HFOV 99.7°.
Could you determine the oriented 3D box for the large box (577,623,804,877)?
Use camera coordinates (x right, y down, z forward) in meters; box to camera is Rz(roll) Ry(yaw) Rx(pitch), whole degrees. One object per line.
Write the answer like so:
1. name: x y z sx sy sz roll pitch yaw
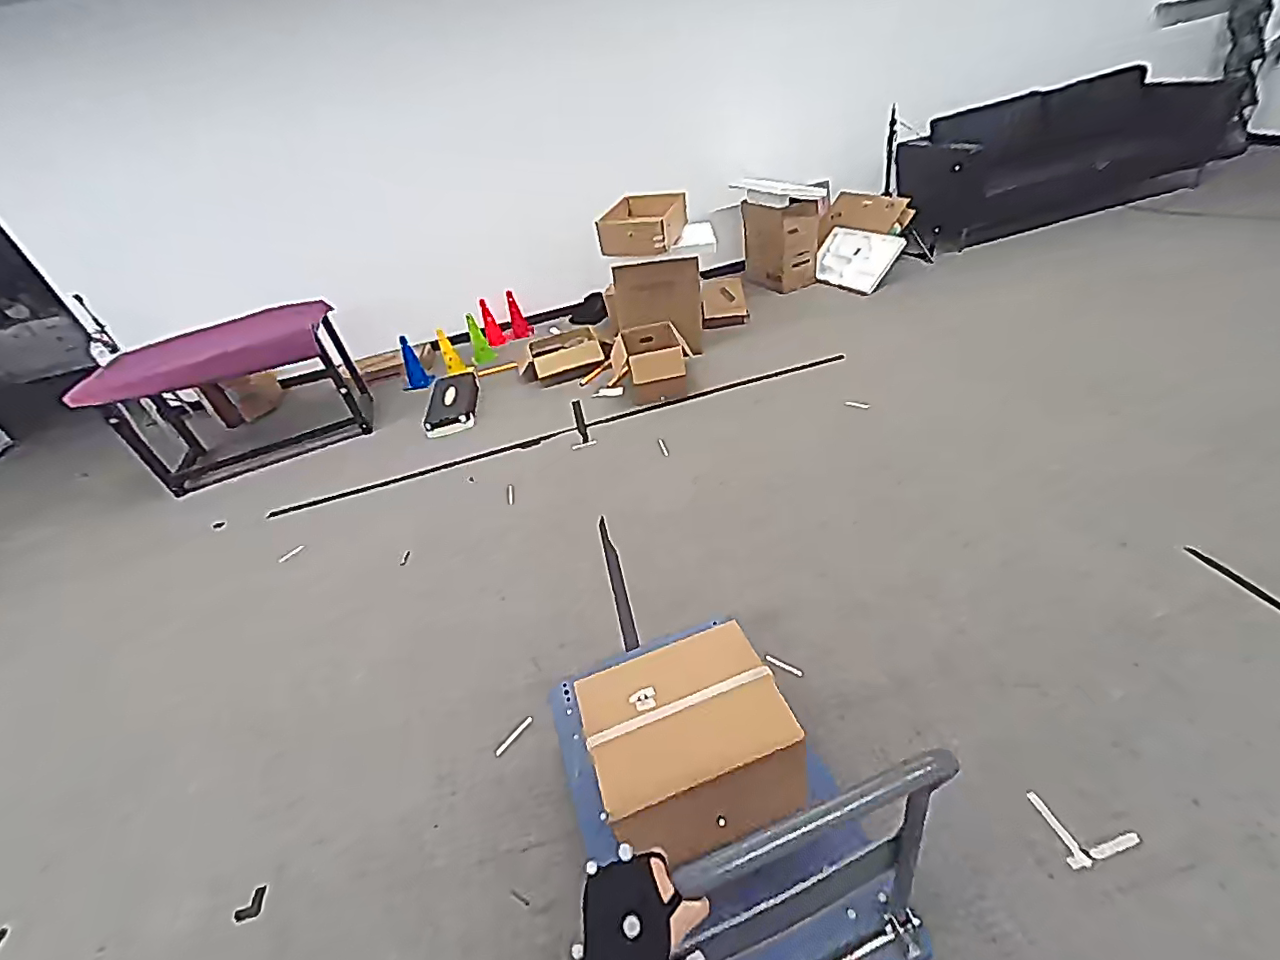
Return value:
1. large box: 0.115 0.602 1.226 0.408 0.320 0.320 -20 35 -8
